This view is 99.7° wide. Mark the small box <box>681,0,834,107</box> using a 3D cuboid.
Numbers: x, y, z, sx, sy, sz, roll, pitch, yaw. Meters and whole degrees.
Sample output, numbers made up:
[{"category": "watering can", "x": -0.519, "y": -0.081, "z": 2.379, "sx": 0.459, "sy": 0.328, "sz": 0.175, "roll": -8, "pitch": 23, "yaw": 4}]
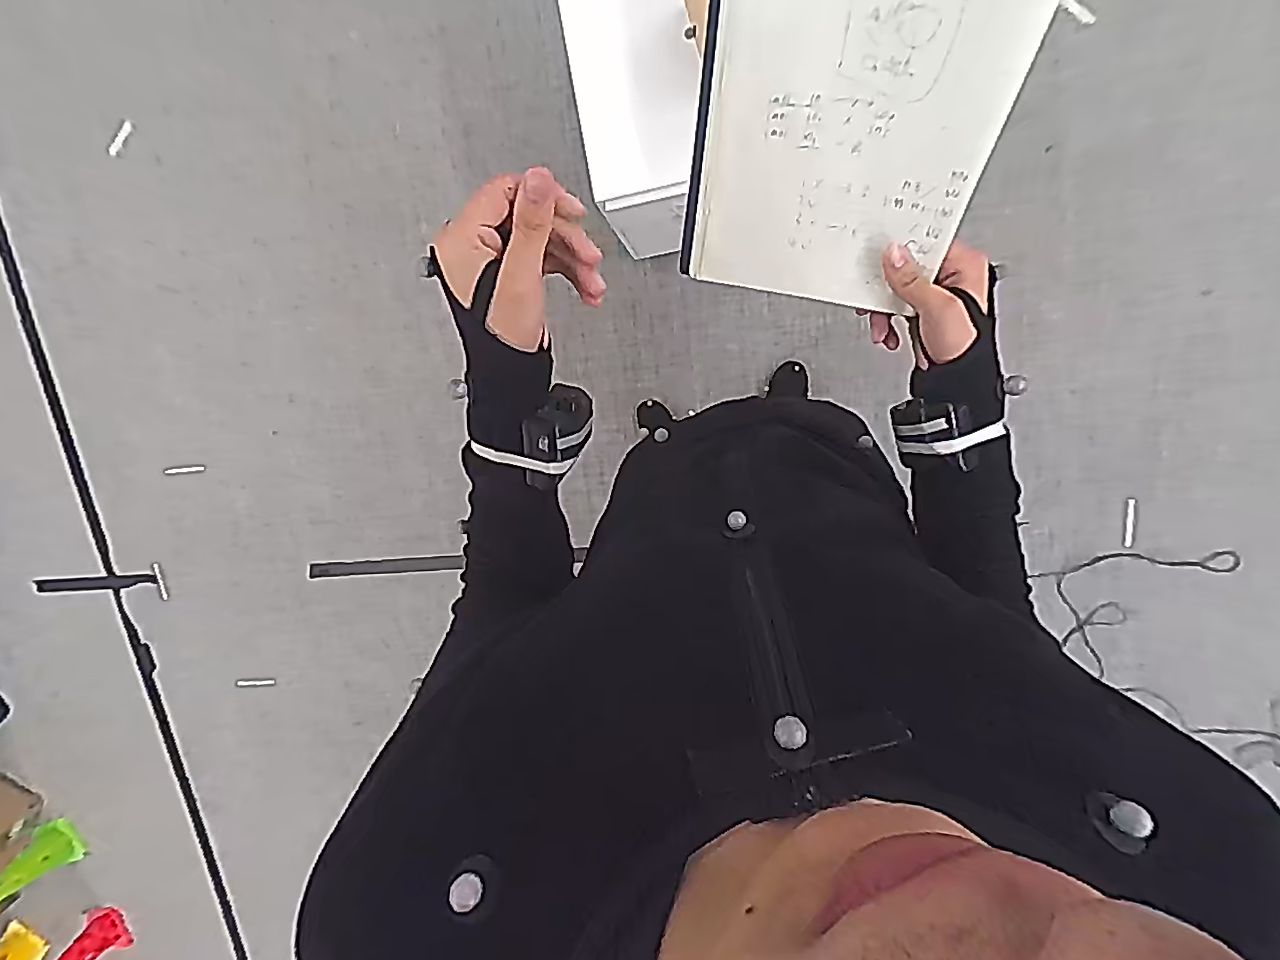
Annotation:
[{"category": "small box", "x": 0.161, "y": -0.700, "z": 0.796, "sx": 0.179, "sy": 0.176, "sz": 0.168, "roll": -17, "pitch": 99, "yaw": 11}]
